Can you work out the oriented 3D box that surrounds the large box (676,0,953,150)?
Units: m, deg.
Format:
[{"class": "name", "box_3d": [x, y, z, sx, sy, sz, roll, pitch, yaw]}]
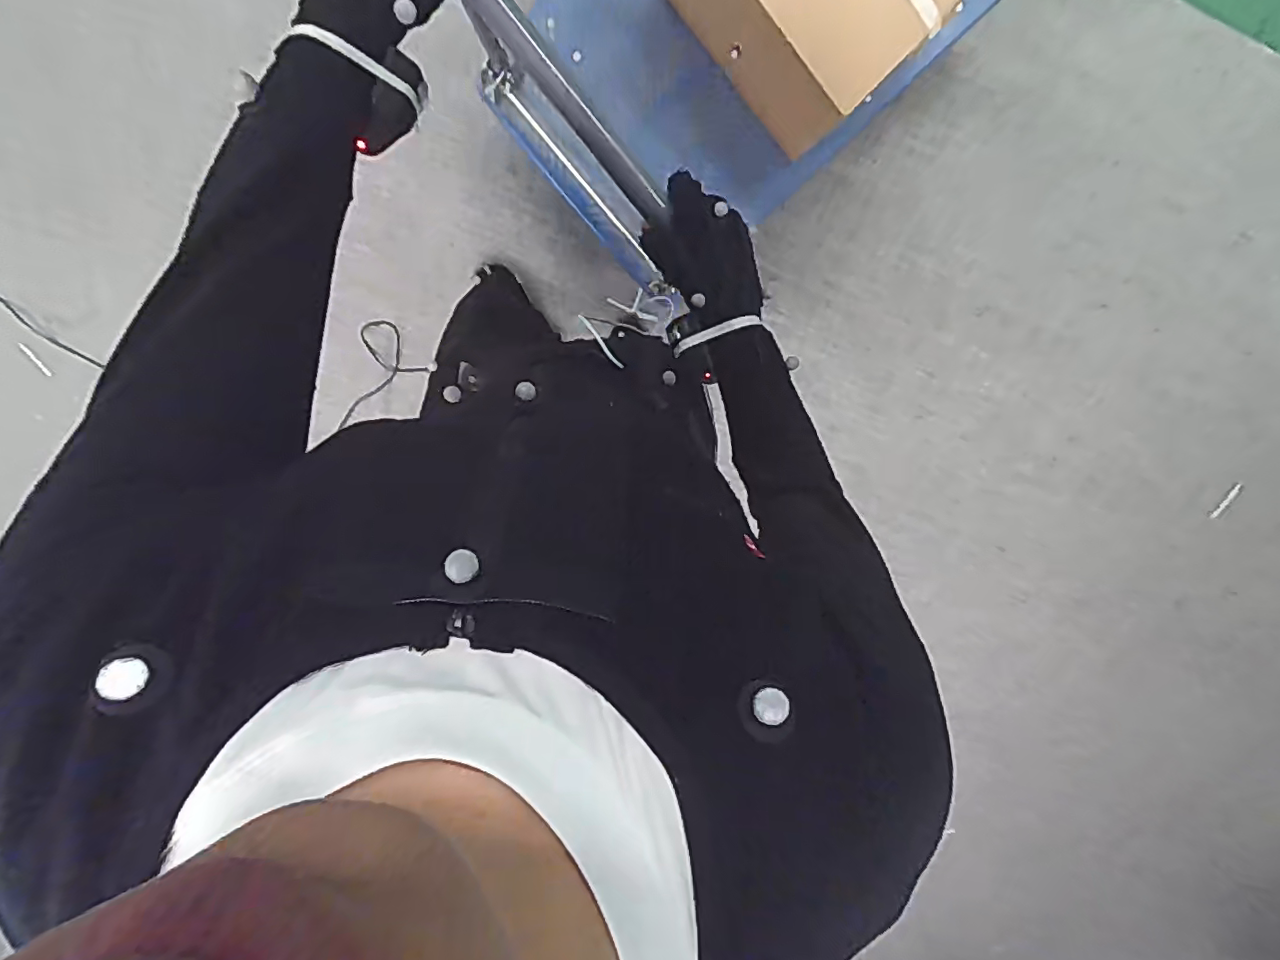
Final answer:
[{"class": "large box", "box_3d": [0.282, -0.834, 0.862, 0.320, 0.320, 0.408, -43, 103, 14]}]
